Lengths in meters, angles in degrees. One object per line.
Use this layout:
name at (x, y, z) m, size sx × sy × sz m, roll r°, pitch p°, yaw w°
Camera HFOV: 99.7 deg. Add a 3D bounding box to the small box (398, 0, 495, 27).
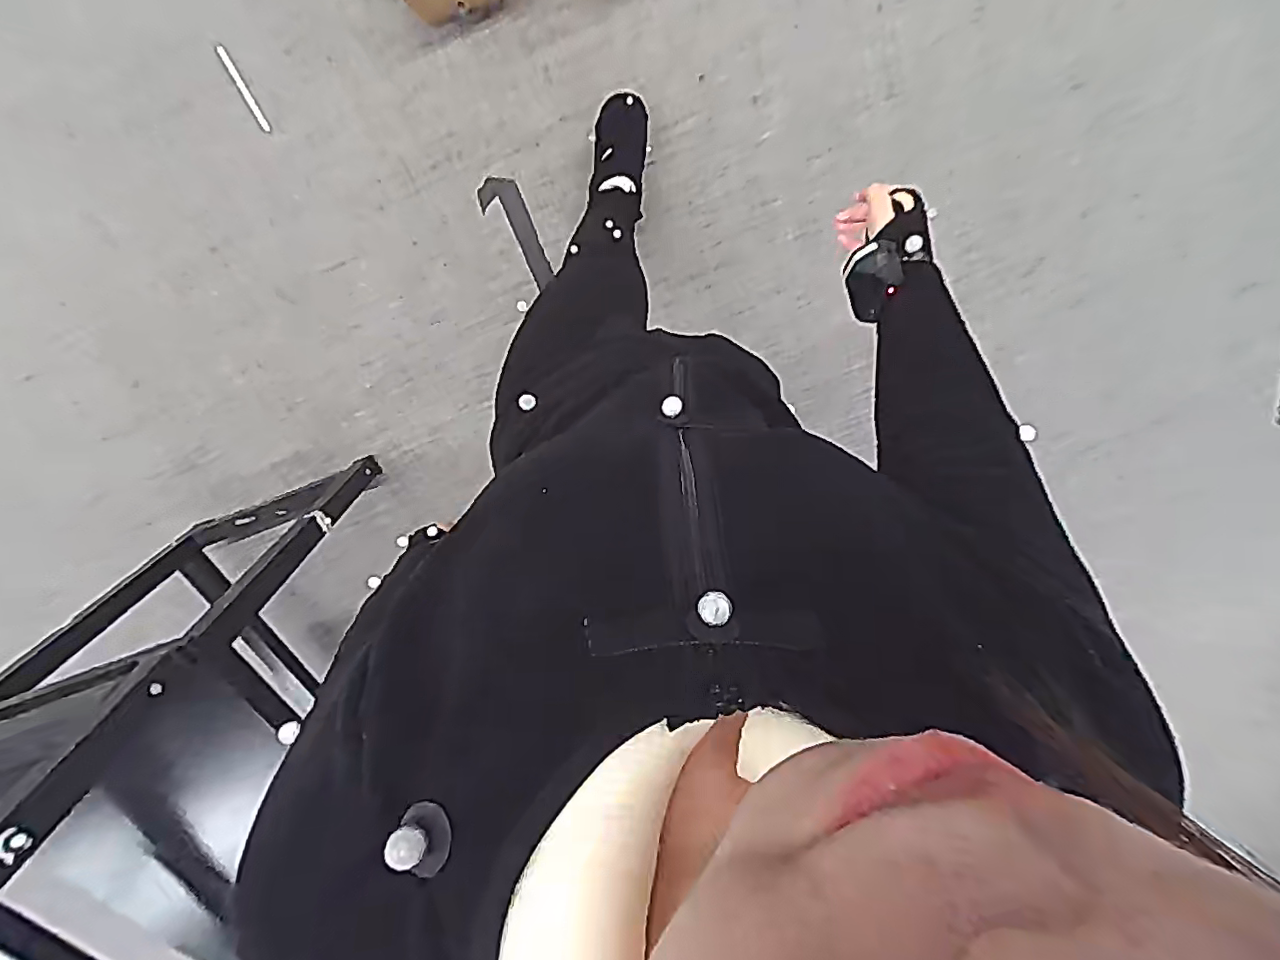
small box at (-0.362, -0.951, 0.959) m, size 0.179 × 0.176 × 0.168 m, roll -16°, pitch 116°, yaw 3°
